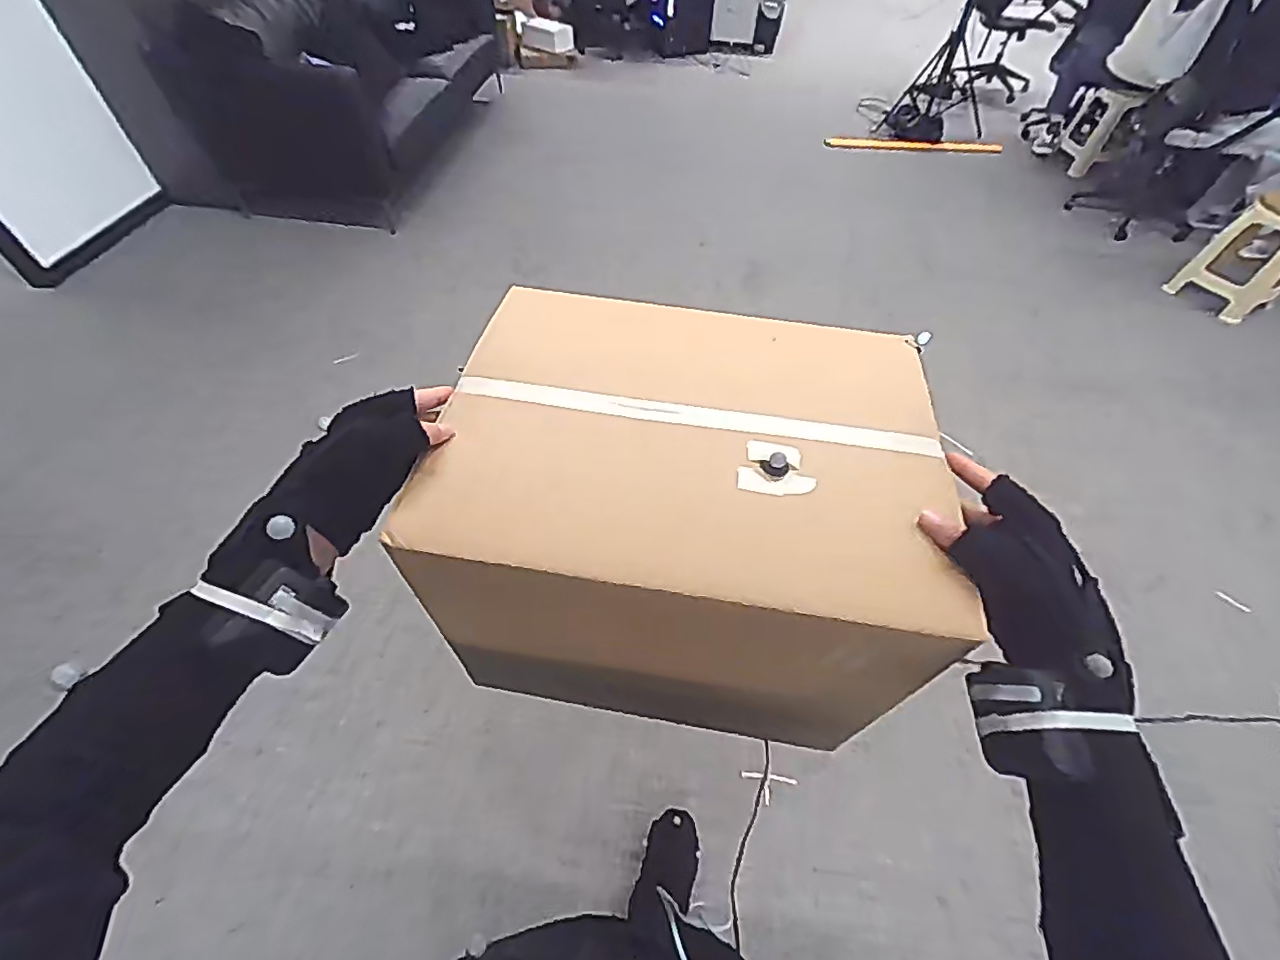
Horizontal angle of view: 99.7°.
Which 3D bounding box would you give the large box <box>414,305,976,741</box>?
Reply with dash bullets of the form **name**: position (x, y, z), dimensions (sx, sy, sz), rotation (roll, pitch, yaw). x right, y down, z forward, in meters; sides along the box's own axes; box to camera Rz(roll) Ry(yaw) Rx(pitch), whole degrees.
- **large box**: position (0.044, 0.052, 0.581), dimensions (0.408, 0.320, 0.320), rotation (9, 52, 3)
